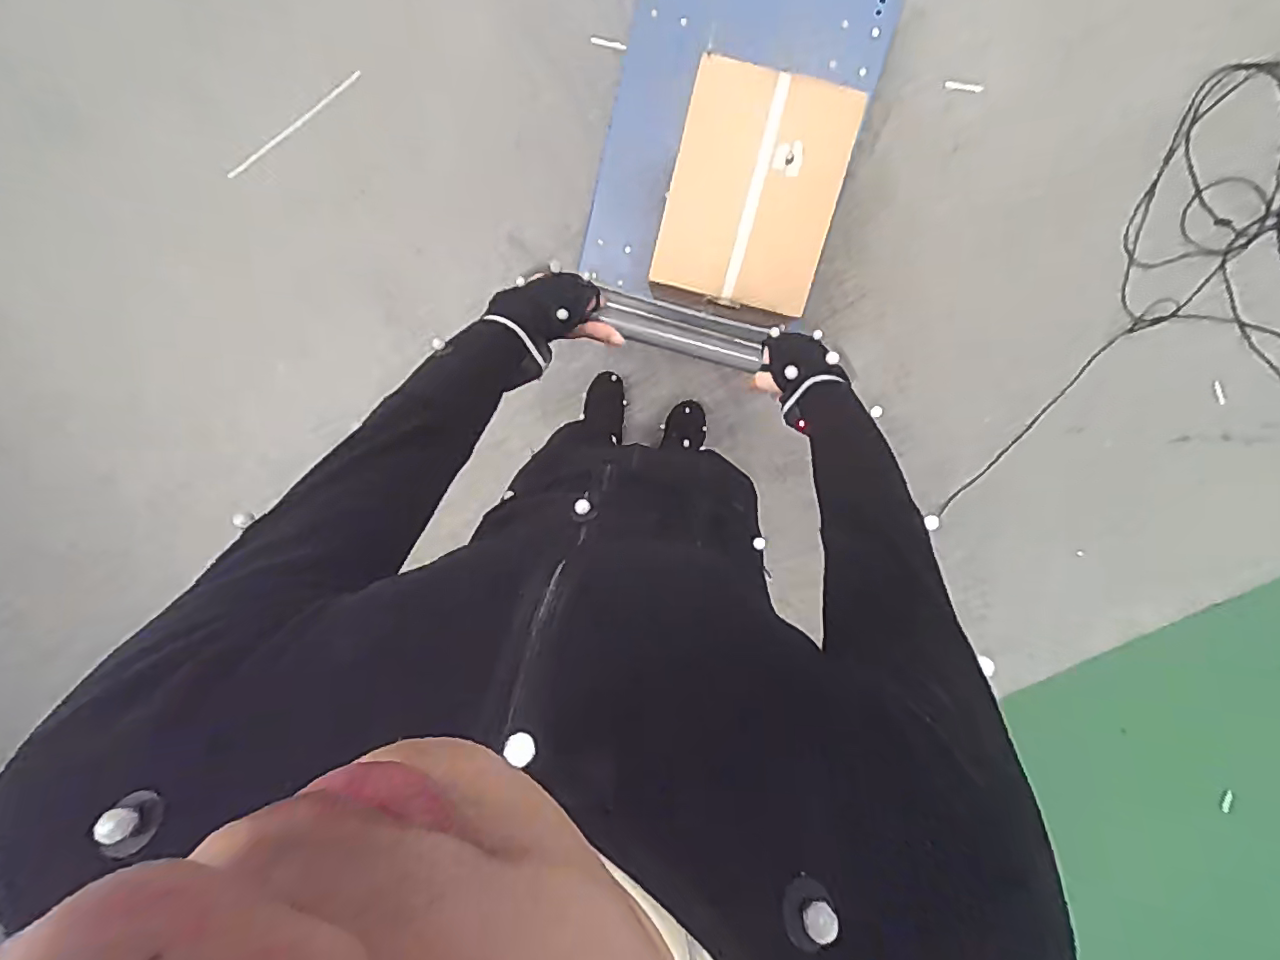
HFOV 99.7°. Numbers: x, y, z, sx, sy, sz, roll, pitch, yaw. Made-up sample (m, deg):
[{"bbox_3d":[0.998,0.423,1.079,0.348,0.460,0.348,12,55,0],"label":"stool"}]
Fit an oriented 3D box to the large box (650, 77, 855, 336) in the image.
[{"bbox_3d":[0.219,-0.560,1.196,0.320,0.320,0.408,15,101,-1],"label":"large box"}]
